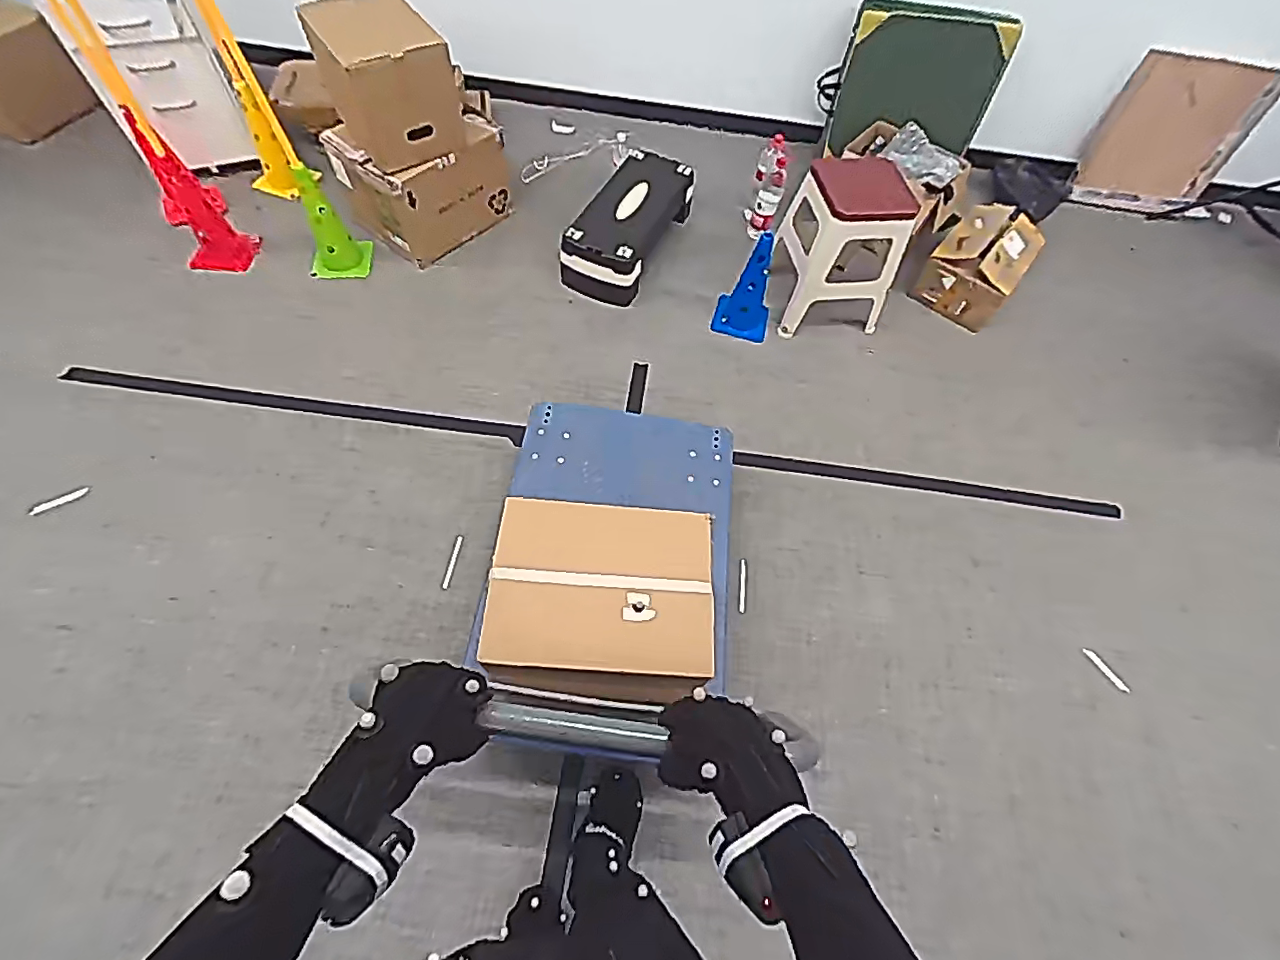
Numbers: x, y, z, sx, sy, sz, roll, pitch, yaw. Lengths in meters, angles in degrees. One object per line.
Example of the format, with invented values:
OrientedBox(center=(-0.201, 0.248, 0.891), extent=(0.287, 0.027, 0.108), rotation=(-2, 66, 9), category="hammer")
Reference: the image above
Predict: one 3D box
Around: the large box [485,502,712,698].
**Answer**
OrientedBox(center=(-0.082, 0.264, 1.135), extent=(0.408, 0.320, 0.320), rotation=(5, 60, -4), category="large box")
